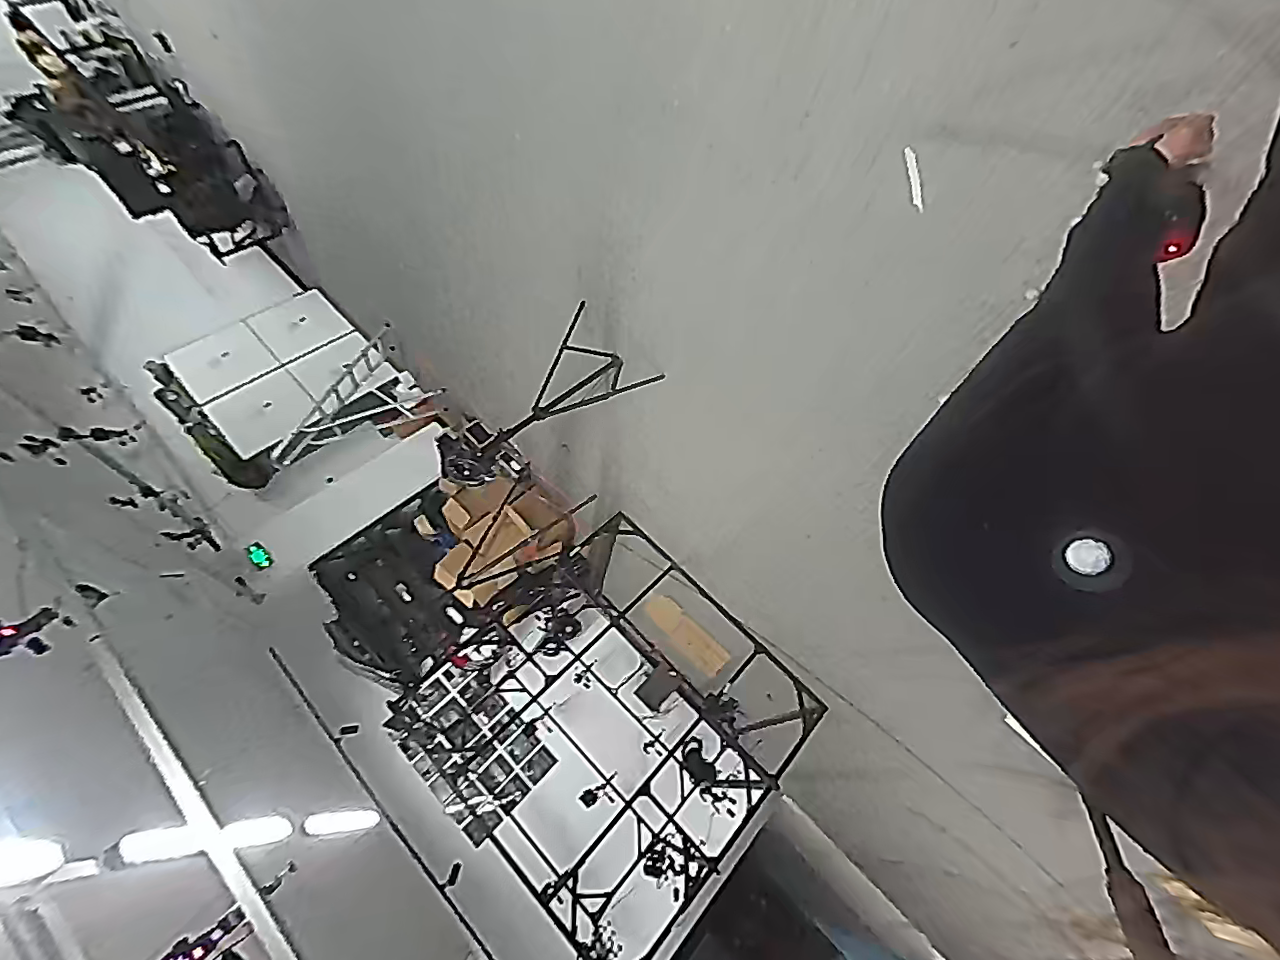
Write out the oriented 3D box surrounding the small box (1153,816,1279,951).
[{"bbox_3d":[1.307,0.874,1.185,0.168,0.176,0.179,43,155,15],"label":"small box"}]
